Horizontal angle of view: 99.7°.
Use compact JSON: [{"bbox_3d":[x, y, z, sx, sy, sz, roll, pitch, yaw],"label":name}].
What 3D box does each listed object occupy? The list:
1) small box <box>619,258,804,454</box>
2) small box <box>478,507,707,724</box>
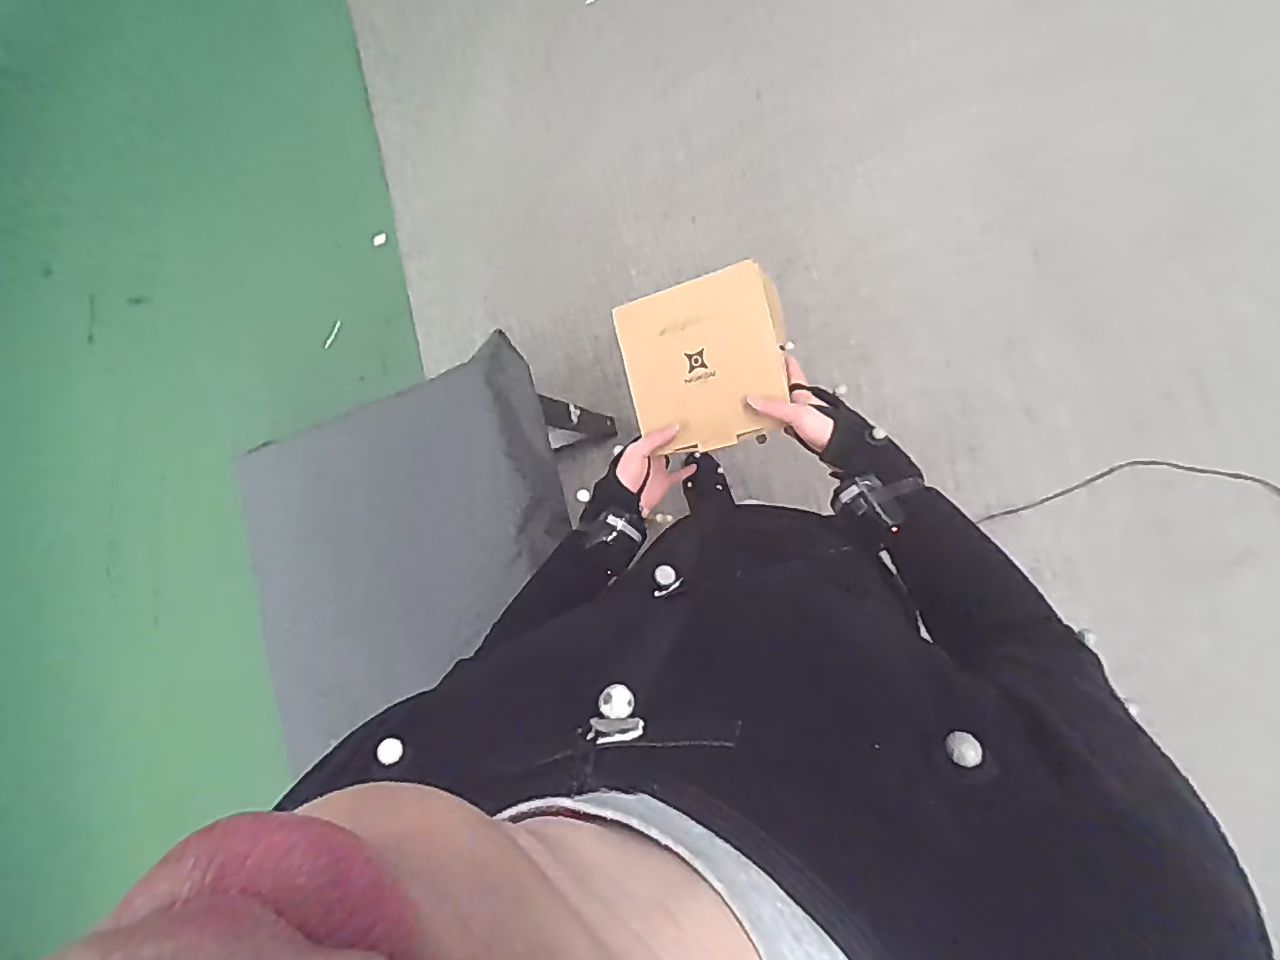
[{"bbox_3d":[0.097,-0.140,0.659,0.168,0.176,0.179,-13,93,22],"label":"small box"},{"bbox_3d":[-0.054,0.149,0.643,0.176,0.168,0.179,-9,115,43],"label":"small box"}]
